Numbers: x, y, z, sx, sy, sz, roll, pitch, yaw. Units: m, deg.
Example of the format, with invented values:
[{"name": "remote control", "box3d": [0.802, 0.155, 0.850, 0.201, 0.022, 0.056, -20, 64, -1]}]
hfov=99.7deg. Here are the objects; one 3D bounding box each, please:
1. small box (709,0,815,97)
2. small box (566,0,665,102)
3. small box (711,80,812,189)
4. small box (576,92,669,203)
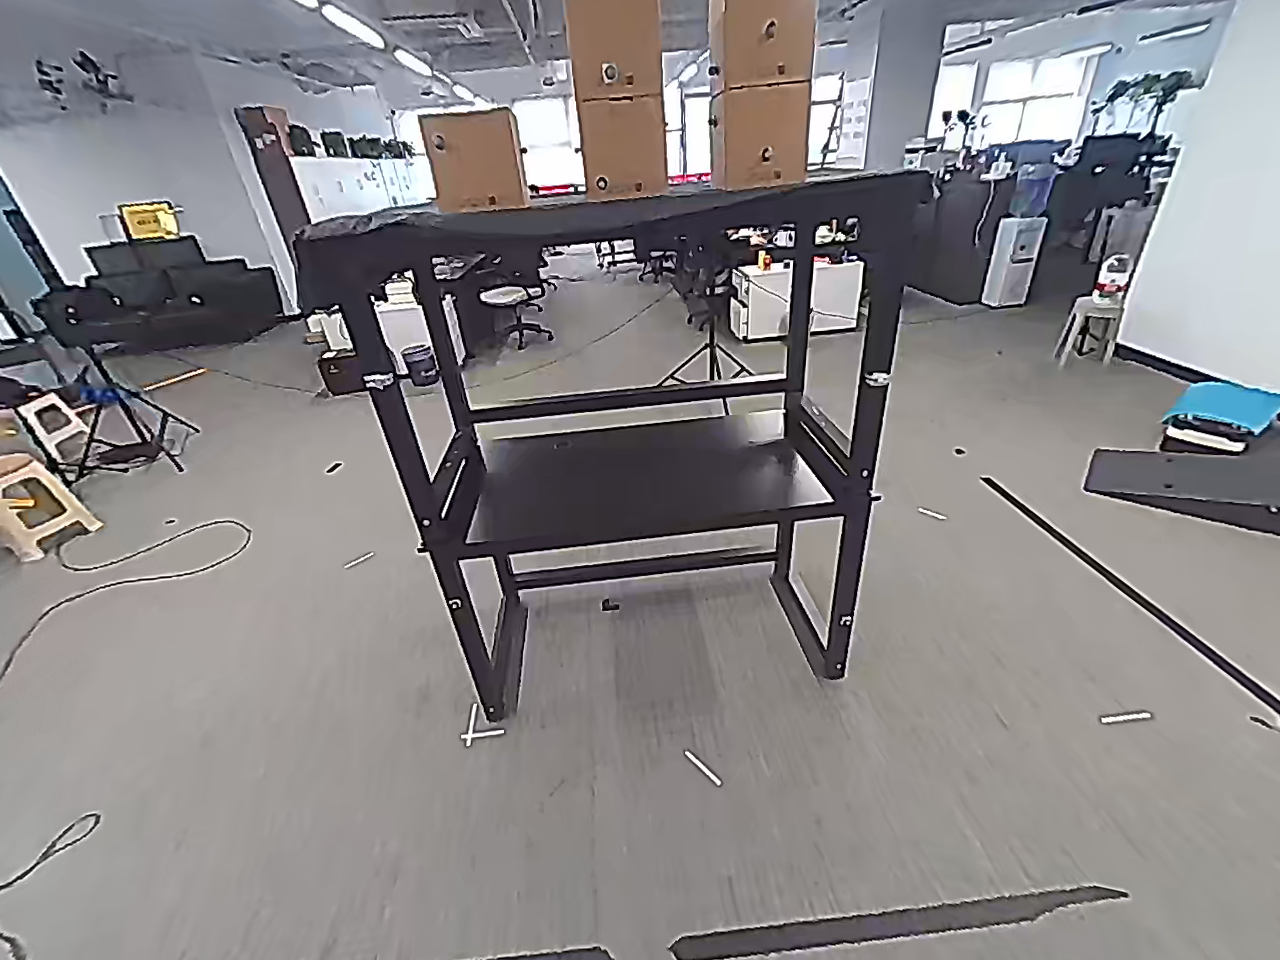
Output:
[{"name": "small box", "box3d": [0.226, -0.837, 1.023, 0.168, 0.176, 0.179, -6, 30, 0]}, {"name": "small box", "box3d": [-0.046, -0.806, 1.017, 0.168, 0.176, 0.179, -7, 30, -1]}, {"name": "small box", "box3d": [0.239, -0.695, 1.103, 0.168, 0.176, 0.179, -7, 30, 0]}, {"name": "small box", "box3d": [-0.034, -0.664, 1.095, 0.168, 0.176, 0.179, -6, 28, -2]}]
